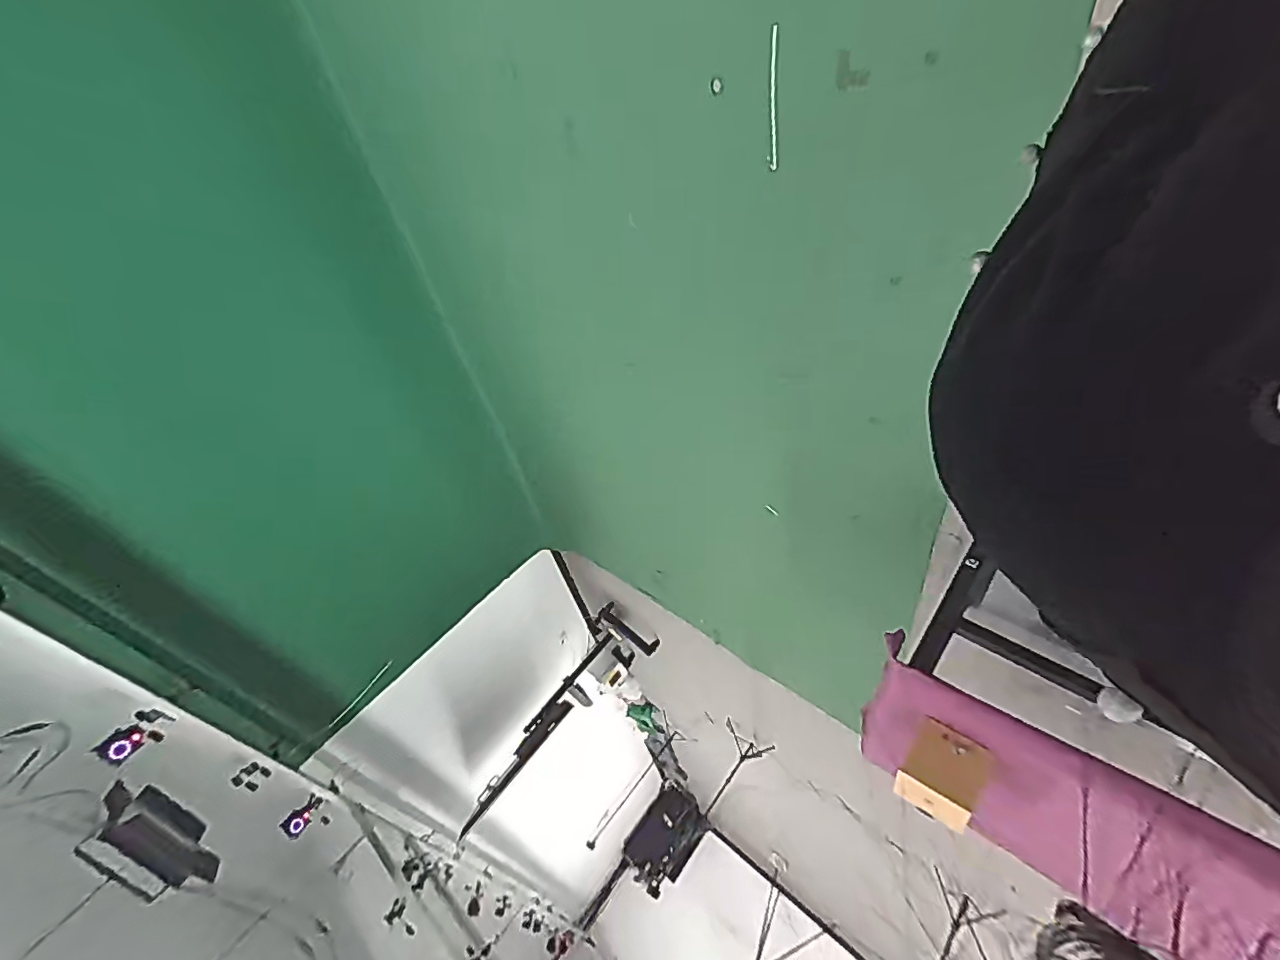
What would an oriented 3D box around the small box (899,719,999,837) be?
[{"bbox_3d":[0.774,0.745,1.360,0.168,0.176,0.179,23,146,36],"label":"small box"}]
